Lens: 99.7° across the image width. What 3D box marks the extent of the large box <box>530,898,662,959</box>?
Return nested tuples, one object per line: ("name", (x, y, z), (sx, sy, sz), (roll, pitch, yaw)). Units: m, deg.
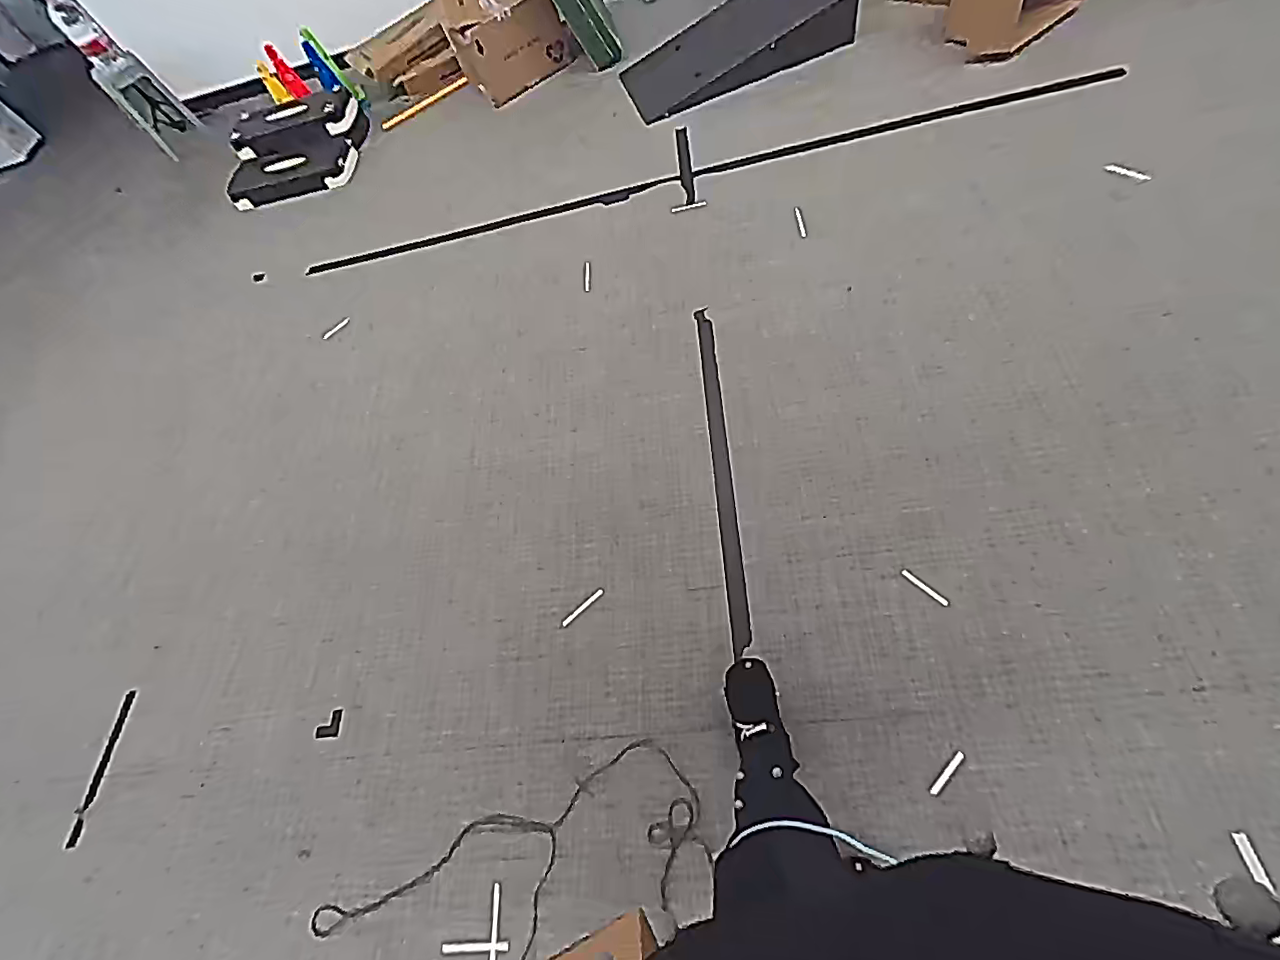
("large box", (-0.047, 0.636, 0.382), (0.320, 0.320, 0.408), (-25, 70, -12))
